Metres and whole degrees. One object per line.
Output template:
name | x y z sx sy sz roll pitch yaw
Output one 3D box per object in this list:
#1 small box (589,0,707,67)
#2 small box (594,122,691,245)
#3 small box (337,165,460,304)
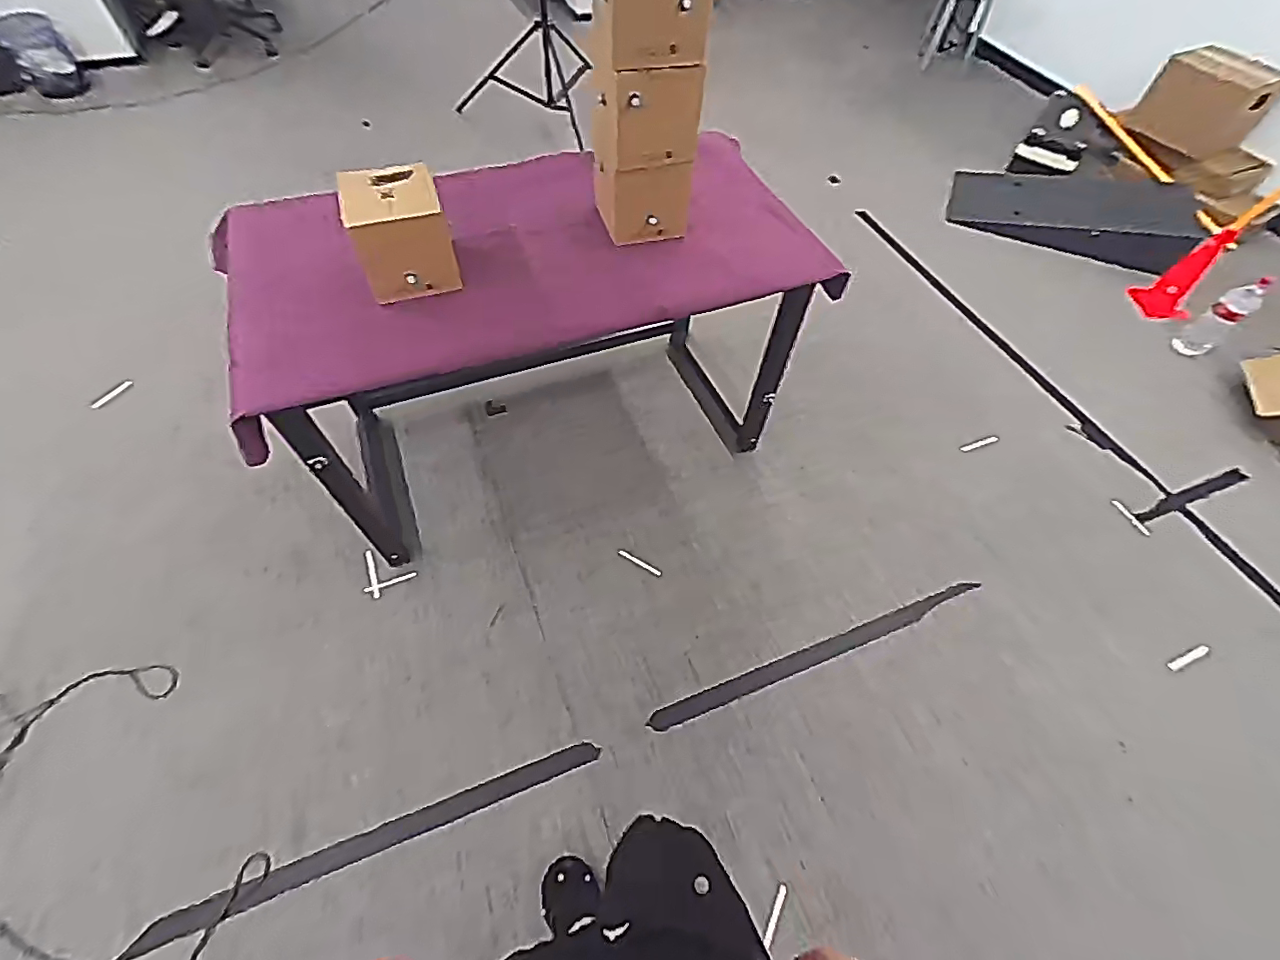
small box | 0.011 -0.813 0.896 0.168 0.176 0.179 -11 57 -11
small box | -0.001 -0.643 1.175 0.168 0.176 0.179 -14 59 -10
small box | -0.459 -0.470 1.041 0.168 0.176 0.179 -17 61 -13
